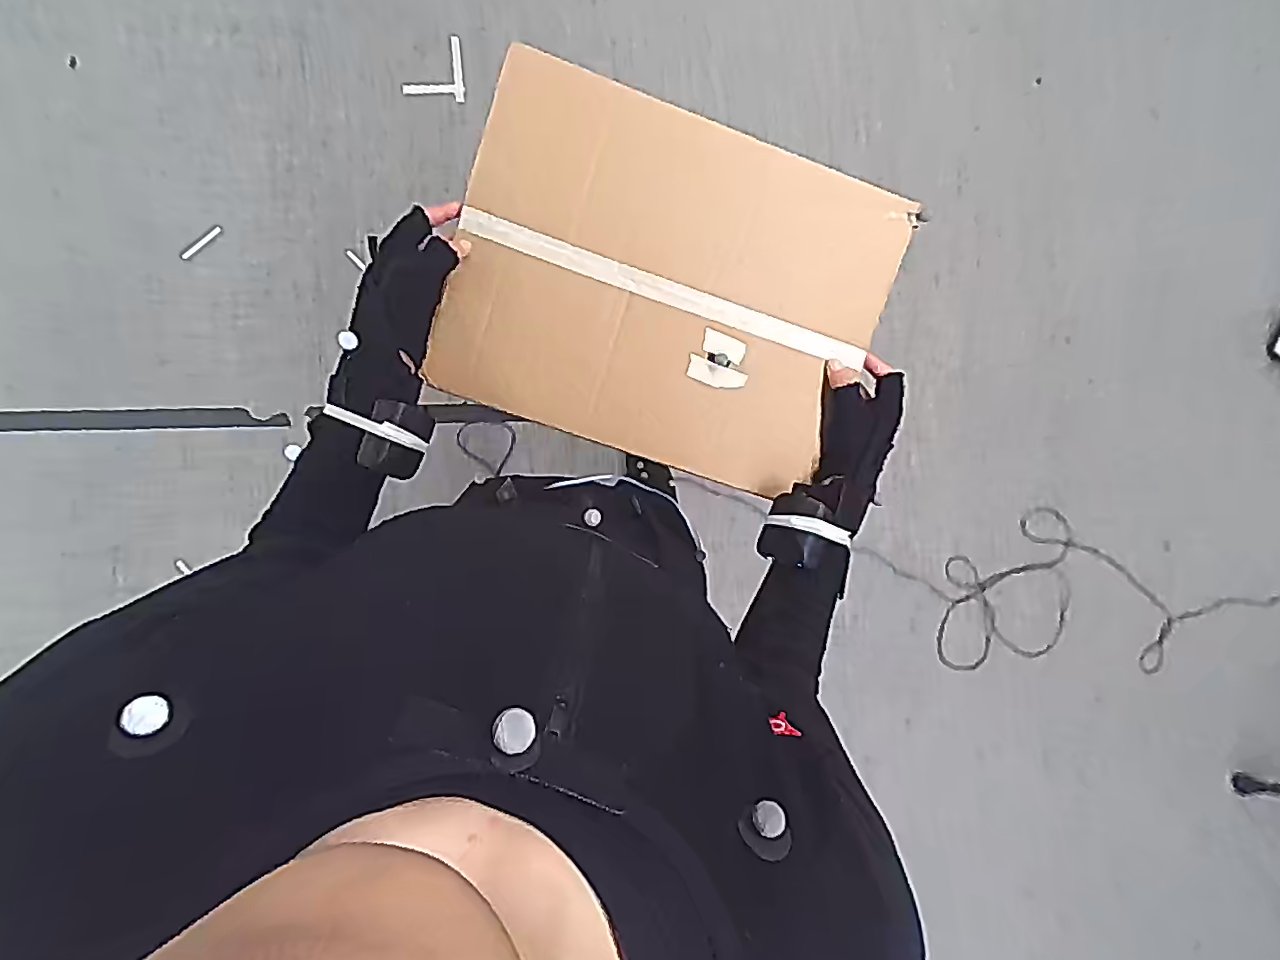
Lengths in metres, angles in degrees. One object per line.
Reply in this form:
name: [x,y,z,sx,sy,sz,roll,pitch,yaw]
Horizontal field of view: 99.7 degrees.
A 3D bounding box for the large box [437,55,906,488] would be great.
large box: [0.021,-0.211,0.678,0.408,0.320,0.320,18,98,-7]
